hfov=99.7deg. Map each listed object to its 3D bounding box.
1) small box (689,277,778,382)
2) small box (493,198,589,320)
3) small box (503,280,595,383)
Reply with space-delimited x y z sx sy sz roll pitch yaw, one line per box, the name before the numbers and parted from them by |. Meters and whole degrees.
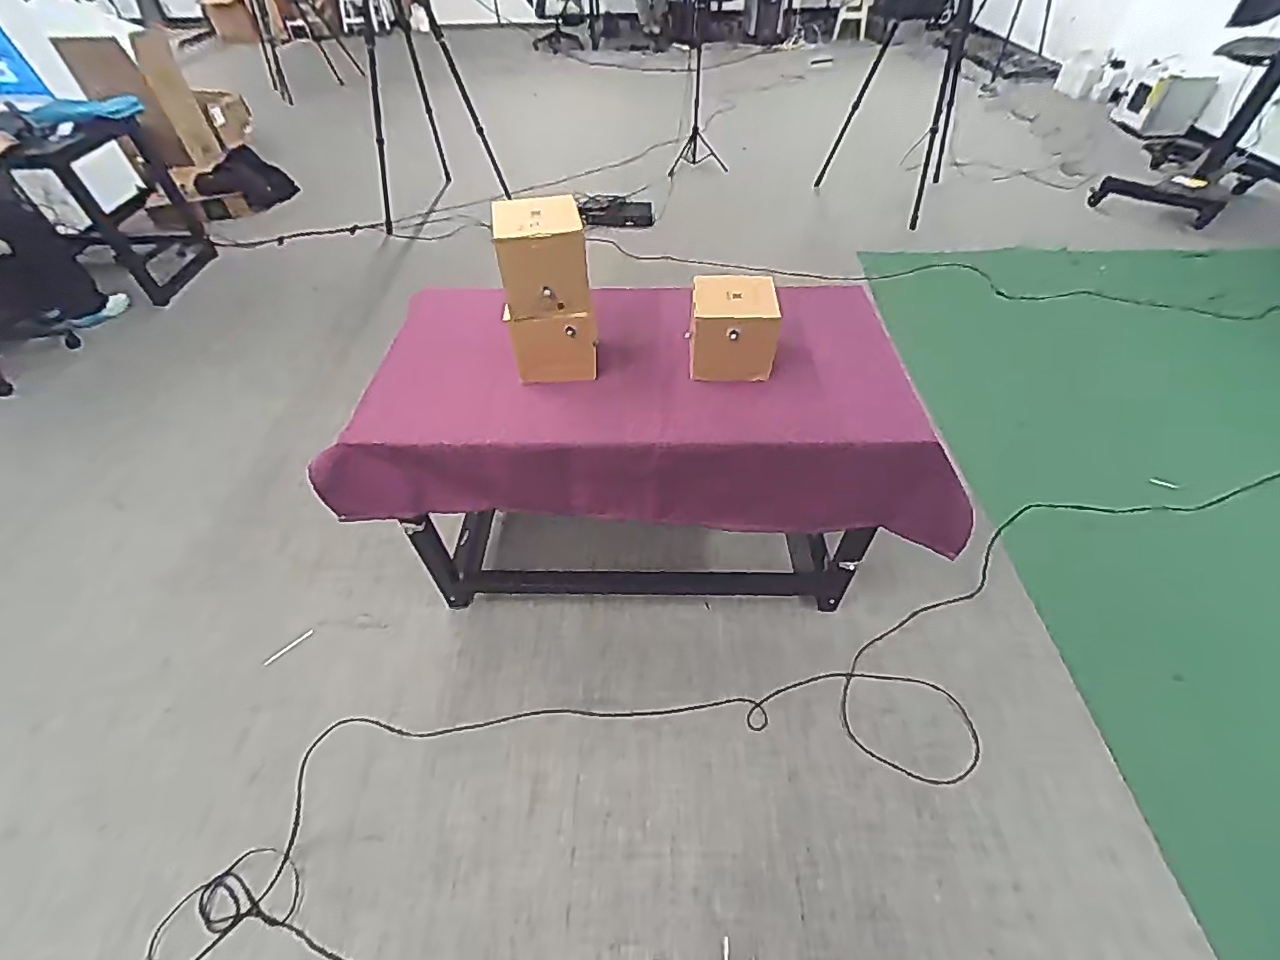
small box | 0.200 -0.333 1.203 0.179 0.176 0.168 2 49 3
small box | -0.200 -0.449 1.101 0.168 0.176 0.179 -9 49 -6
small box | -0.197 -0.331 1.217 0.179 0.176 0.168 -3 48 -2
